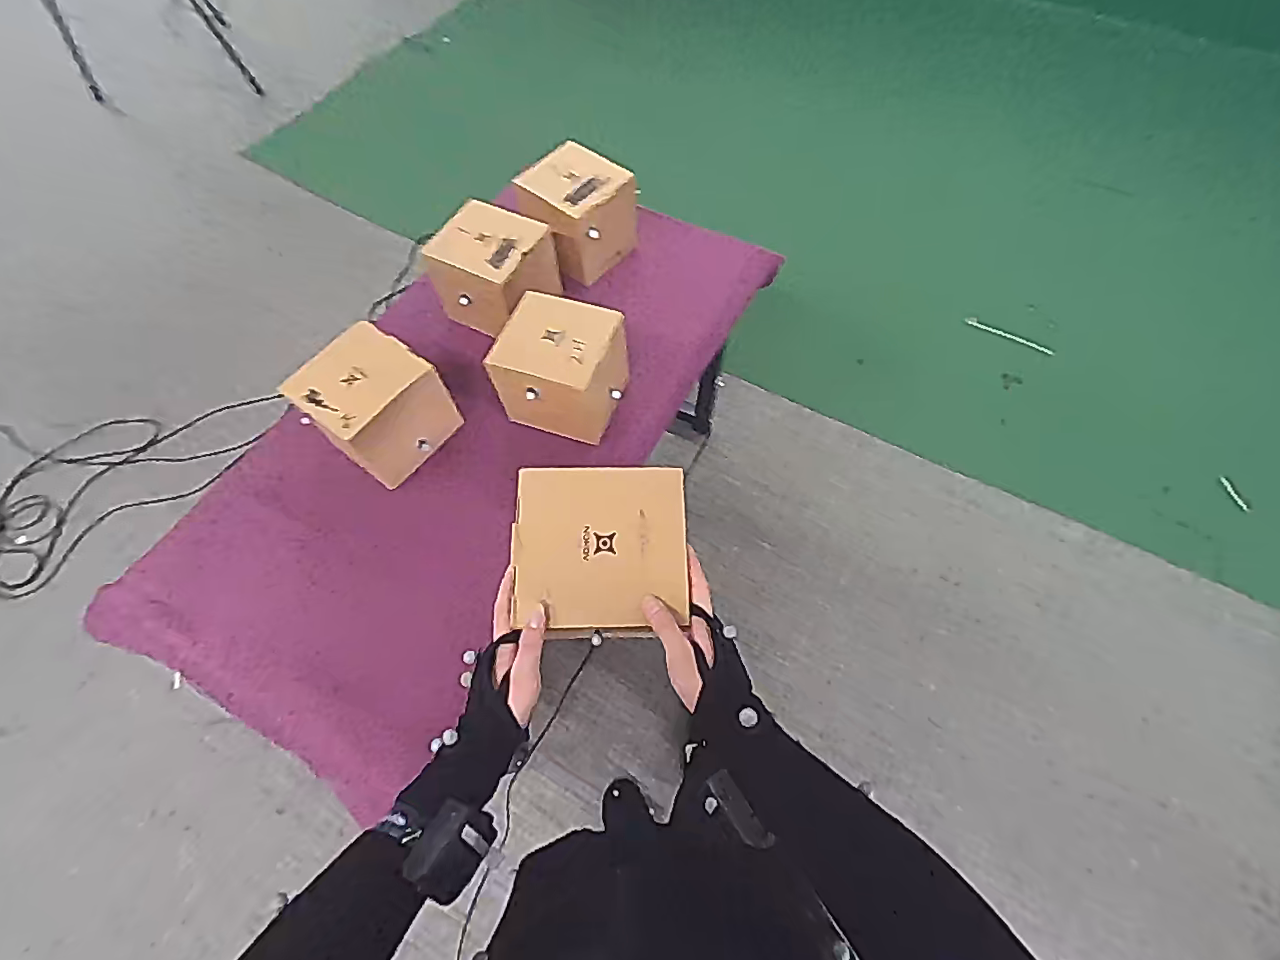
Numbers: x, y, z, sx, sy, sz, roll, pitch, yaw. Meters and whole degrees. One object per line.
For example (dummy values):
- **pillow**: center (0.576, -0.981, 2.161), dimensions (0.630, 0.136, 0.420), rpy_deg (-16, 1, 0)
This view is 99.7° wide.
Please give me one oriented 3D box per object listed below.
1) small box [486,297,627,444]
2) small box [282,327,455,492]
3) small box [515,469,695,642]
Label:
- **small box**: center (-0.133, -0.184, 0.939), dimensions (0.179, 0.176, 0.168), rpy_deg (17, 65, 11)
- **small box**: center (-0.438, -0.114, 0.912), dimensions (0.168, 0.176, 0.179), rpy_deg (34, 68, 17)
- **small box**: center (-0.034, 0.095, 0.619), dimensions (0.179, 0.176, 0.168), rpy_deg (1, 70, -2)
